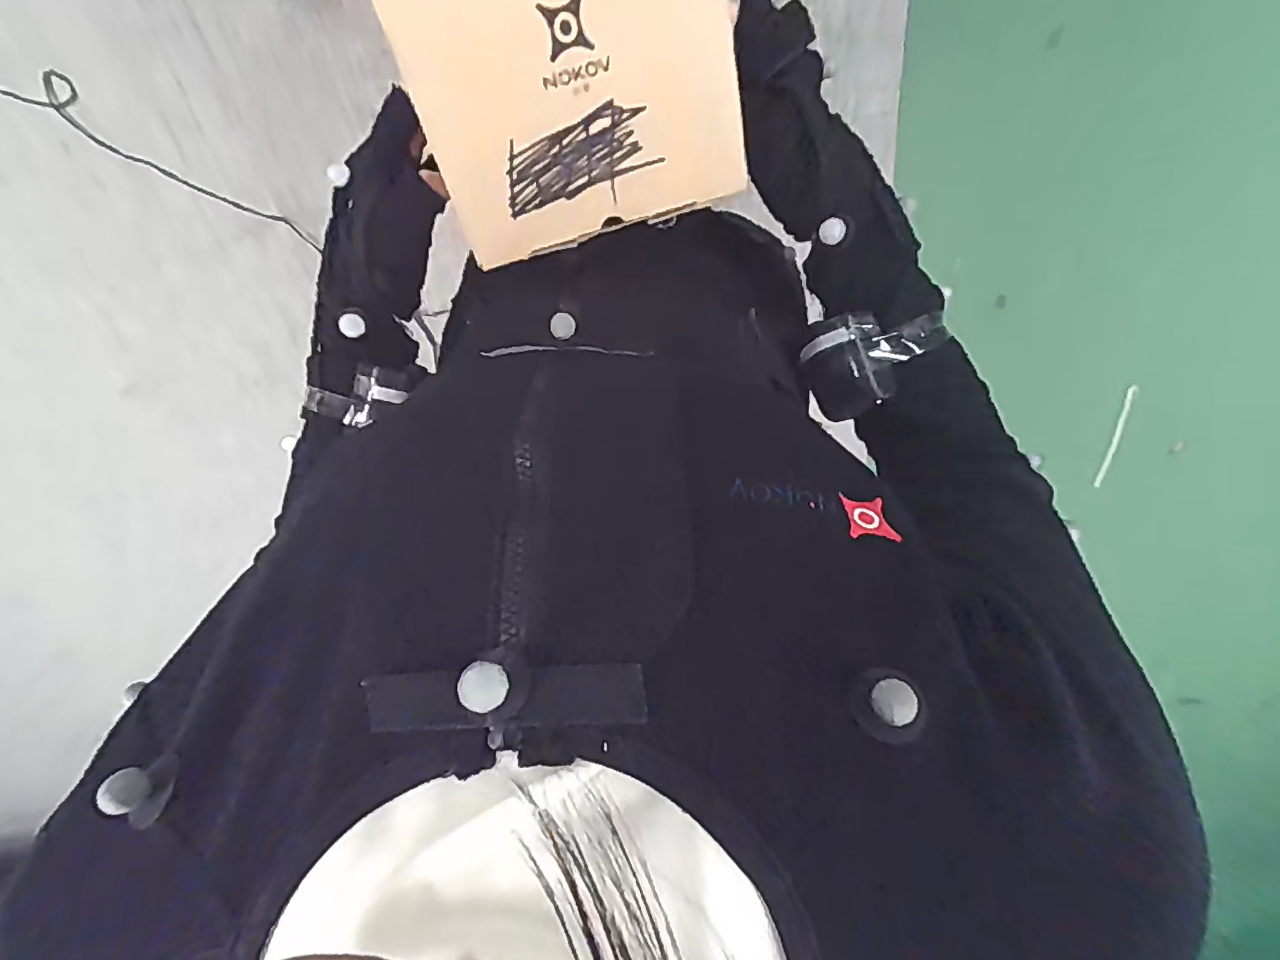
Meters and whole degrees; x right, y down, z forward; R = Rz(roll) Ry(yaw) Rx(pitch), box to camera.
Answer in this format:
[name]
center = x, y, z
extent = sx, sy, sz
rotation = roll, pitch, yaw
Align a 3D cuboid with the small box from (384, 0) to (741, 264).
[small box]
center = -0.045, -0.264, 0.338
extent = 0.168, 0.176, 0.179
rotation = -15, 128, 0
